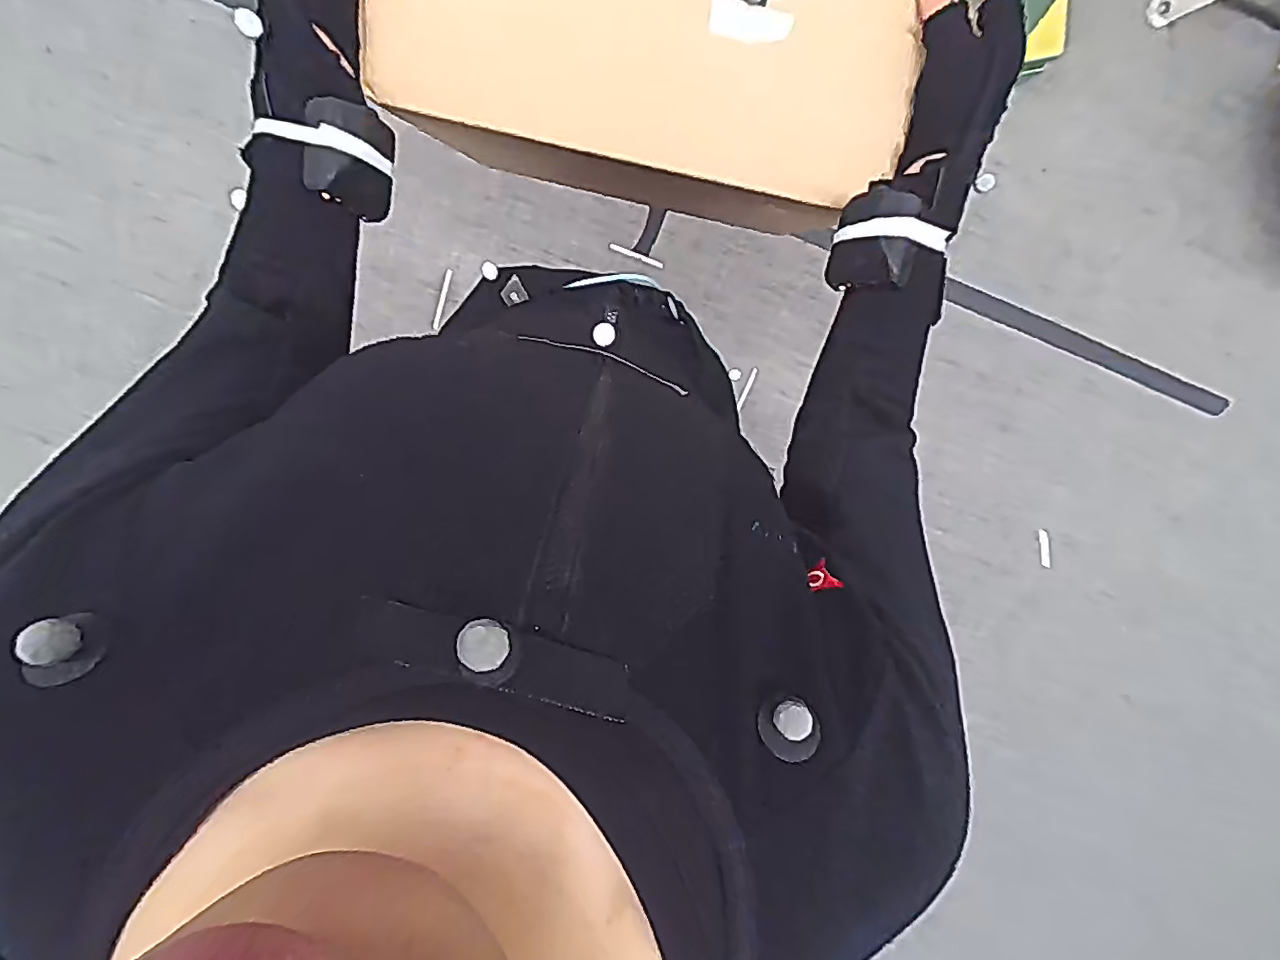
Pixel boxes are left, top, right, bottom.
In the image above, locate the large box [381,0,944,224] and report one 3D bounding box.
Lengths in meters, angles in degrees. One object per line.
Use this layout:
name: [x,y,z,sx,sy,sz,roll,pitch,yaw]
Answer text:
large box: [0.025,-0.450,0.503,0.408,0.320,0.320,10,113,-5]
